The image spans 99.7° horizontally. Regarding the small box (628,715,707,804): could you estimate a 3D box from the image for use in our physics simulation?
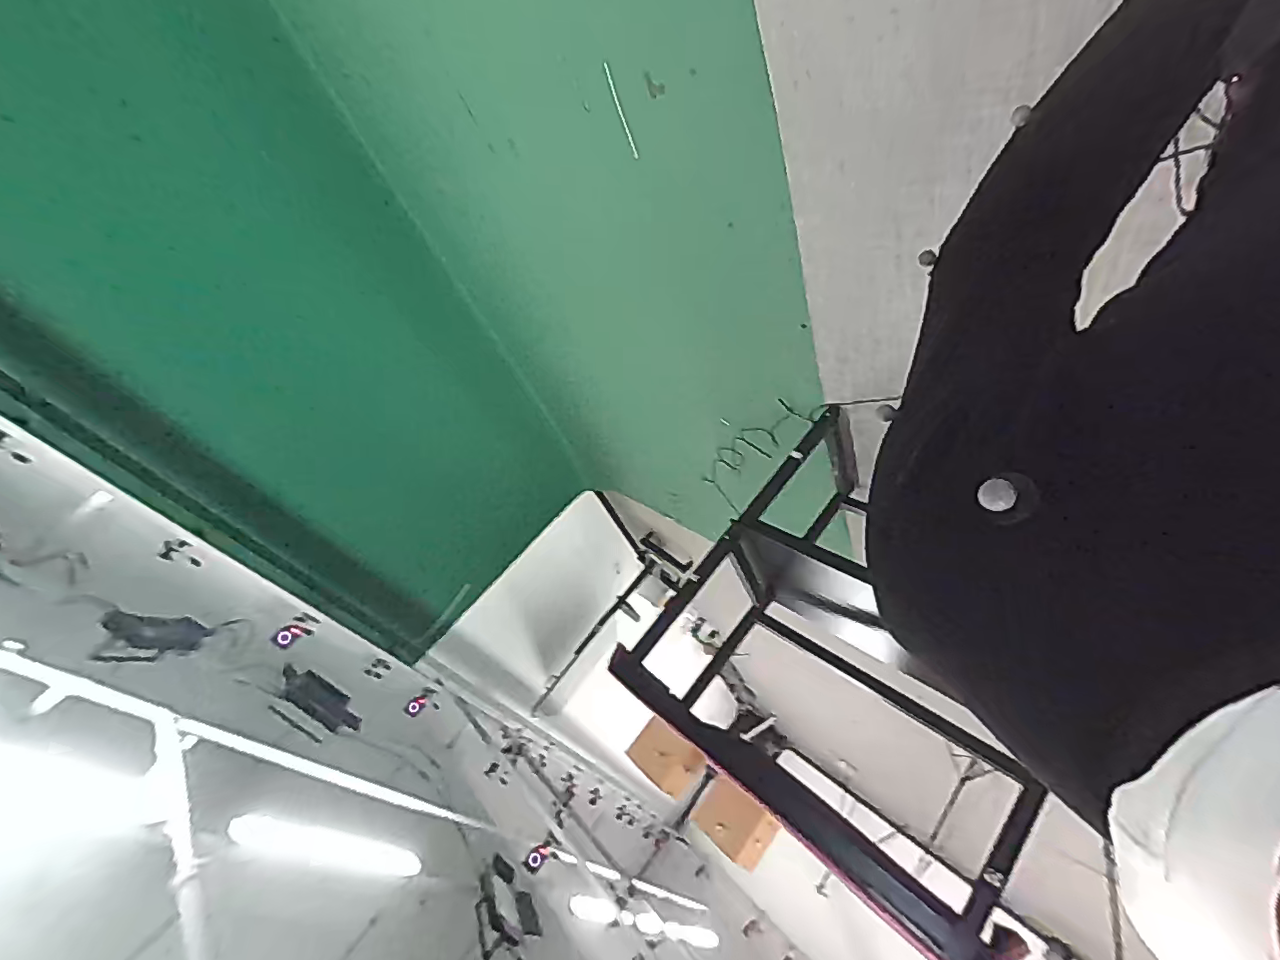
[{"bbox_3d":[0.099,0.907,1.763,0.179,0.176,0.168,22,152,42],"label":"small box"}]

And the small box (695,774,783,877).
[{"bbox_3d":[0.296,1.001,1.576,0.179,0.176,0.168,23,154,45],"label":"small box"}]
